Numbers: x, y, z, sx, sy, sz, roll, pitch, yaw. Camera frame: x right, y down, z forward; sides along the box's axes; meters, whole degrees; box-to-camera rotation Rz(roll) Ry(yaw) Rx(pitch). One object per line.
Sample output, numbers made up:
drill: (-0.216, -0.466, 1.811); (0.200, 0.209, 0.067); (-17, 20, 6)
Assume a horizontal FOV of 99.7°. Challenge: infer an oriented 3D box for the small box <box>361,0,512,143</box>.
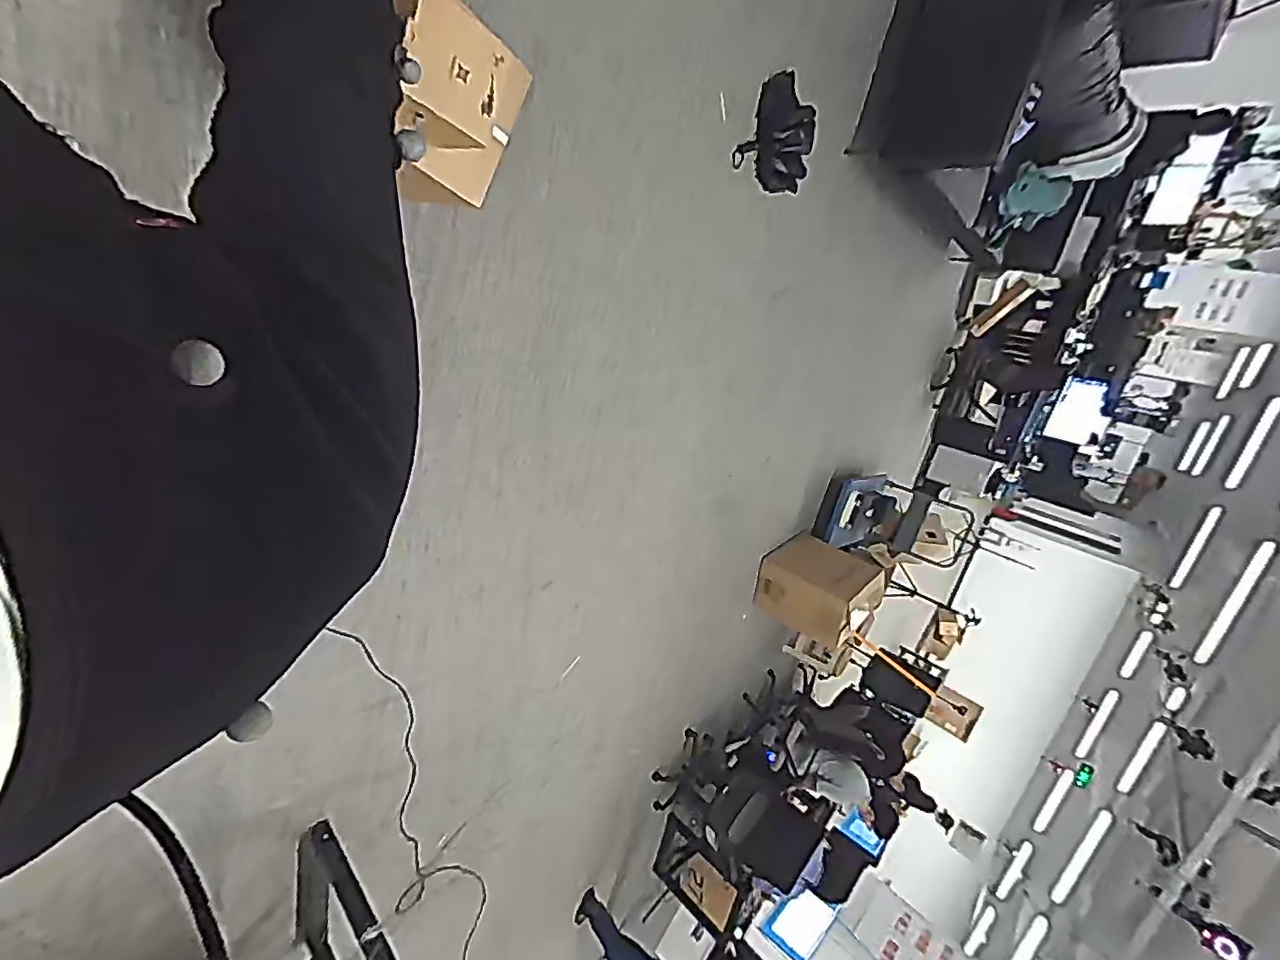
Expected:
small box: (-0.361, -0.717, 0.949); (0.179, 0.176, 0.168); (7, 106, -50)
